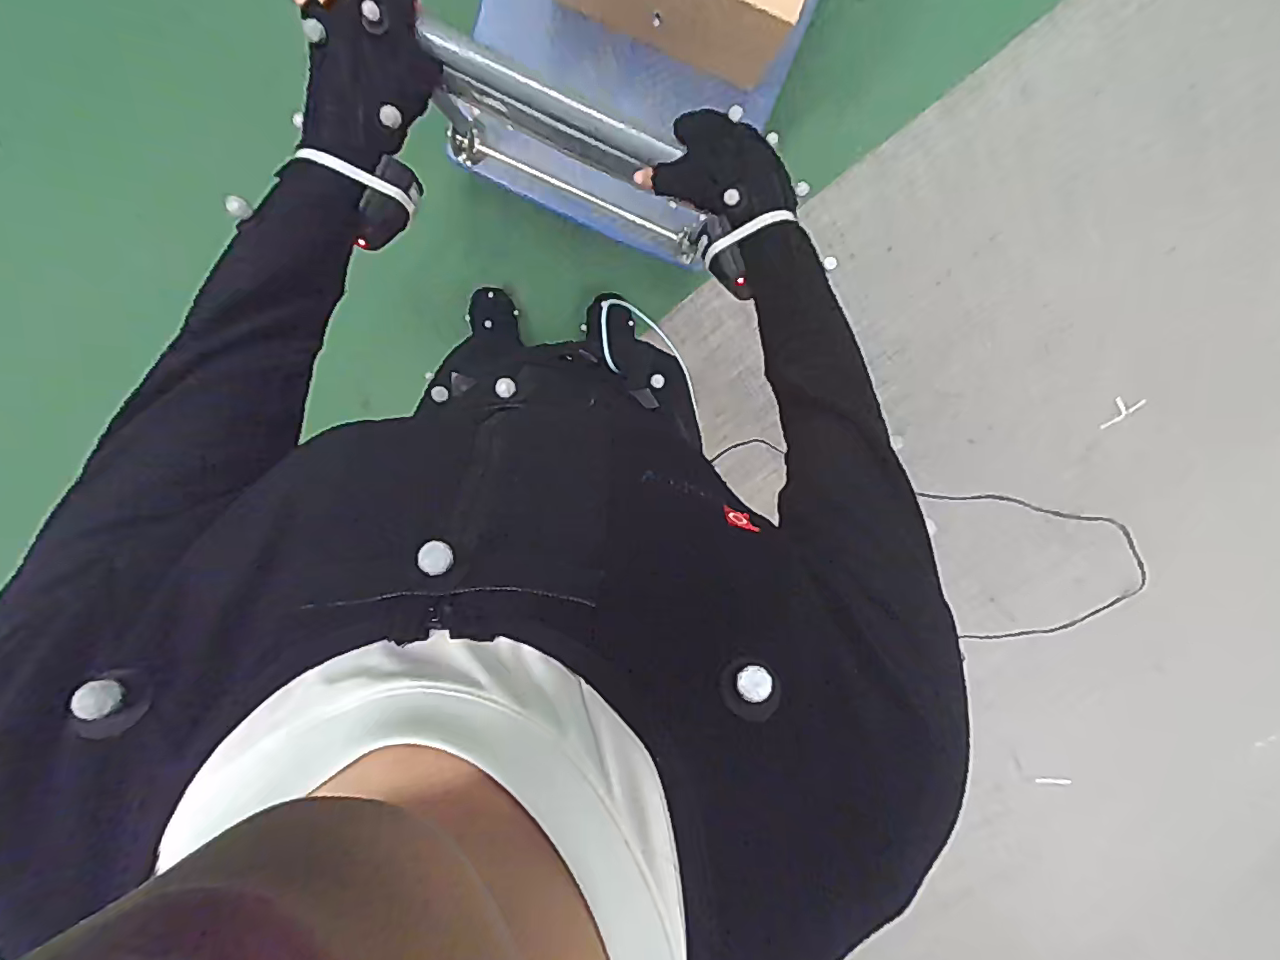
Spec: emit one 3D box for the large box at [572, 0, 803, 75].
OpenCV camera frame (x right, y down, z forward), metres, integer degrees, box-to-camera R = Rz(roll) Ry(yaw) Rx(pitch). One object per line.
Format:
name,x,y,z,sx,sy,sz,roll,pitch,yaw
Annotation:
large box,0.089,-0.918,0.840,0.408,0.320,0.320,18,109,-7
